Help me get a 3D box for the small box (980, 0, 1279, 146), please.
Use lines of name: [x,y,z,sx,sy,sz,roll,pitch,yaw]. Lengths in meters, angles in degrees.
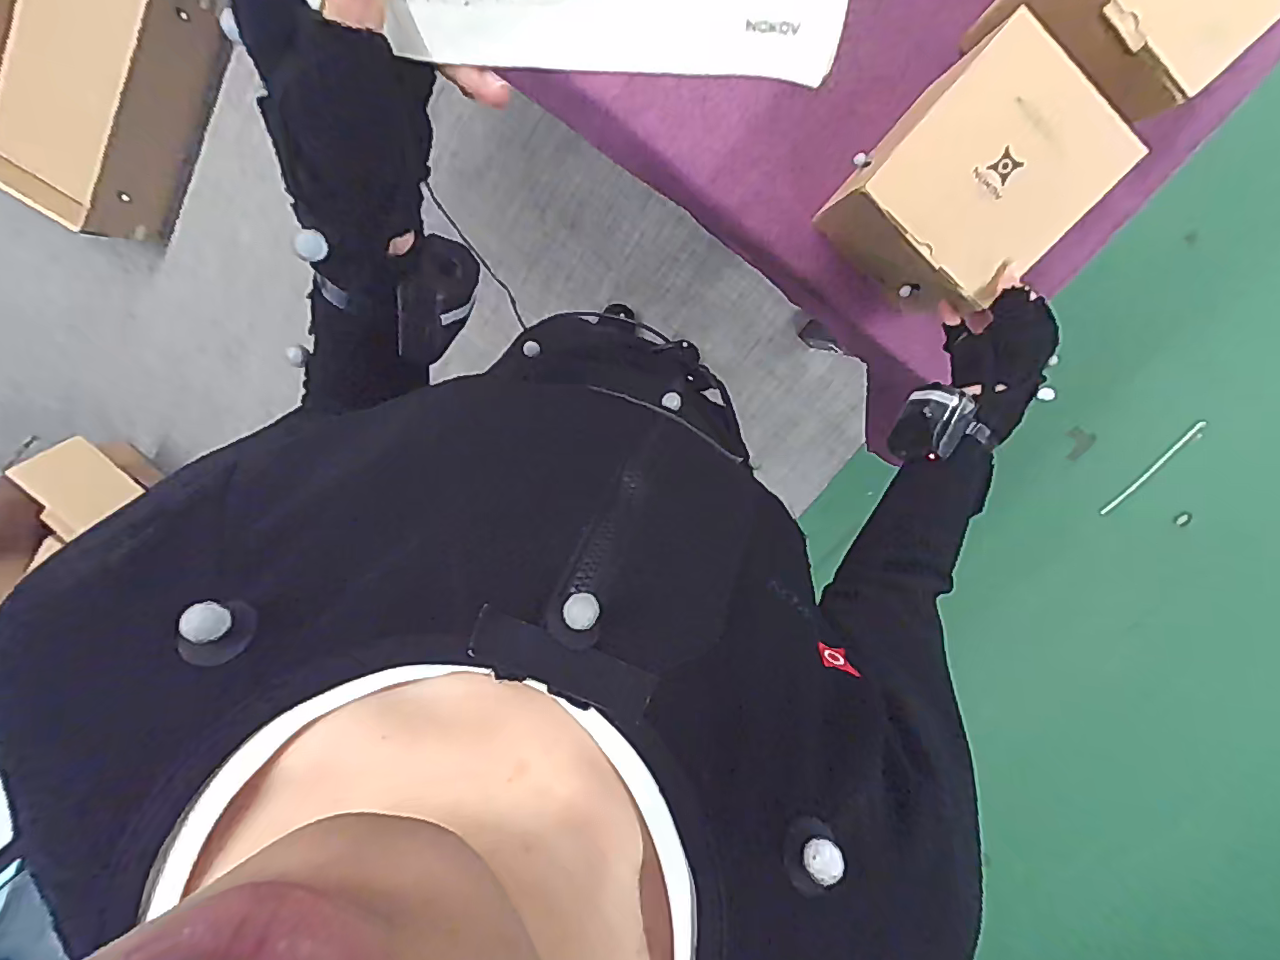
small box: [0.449,-0.447,0.486,0.168,0.176,0.179,42,105,-10]
